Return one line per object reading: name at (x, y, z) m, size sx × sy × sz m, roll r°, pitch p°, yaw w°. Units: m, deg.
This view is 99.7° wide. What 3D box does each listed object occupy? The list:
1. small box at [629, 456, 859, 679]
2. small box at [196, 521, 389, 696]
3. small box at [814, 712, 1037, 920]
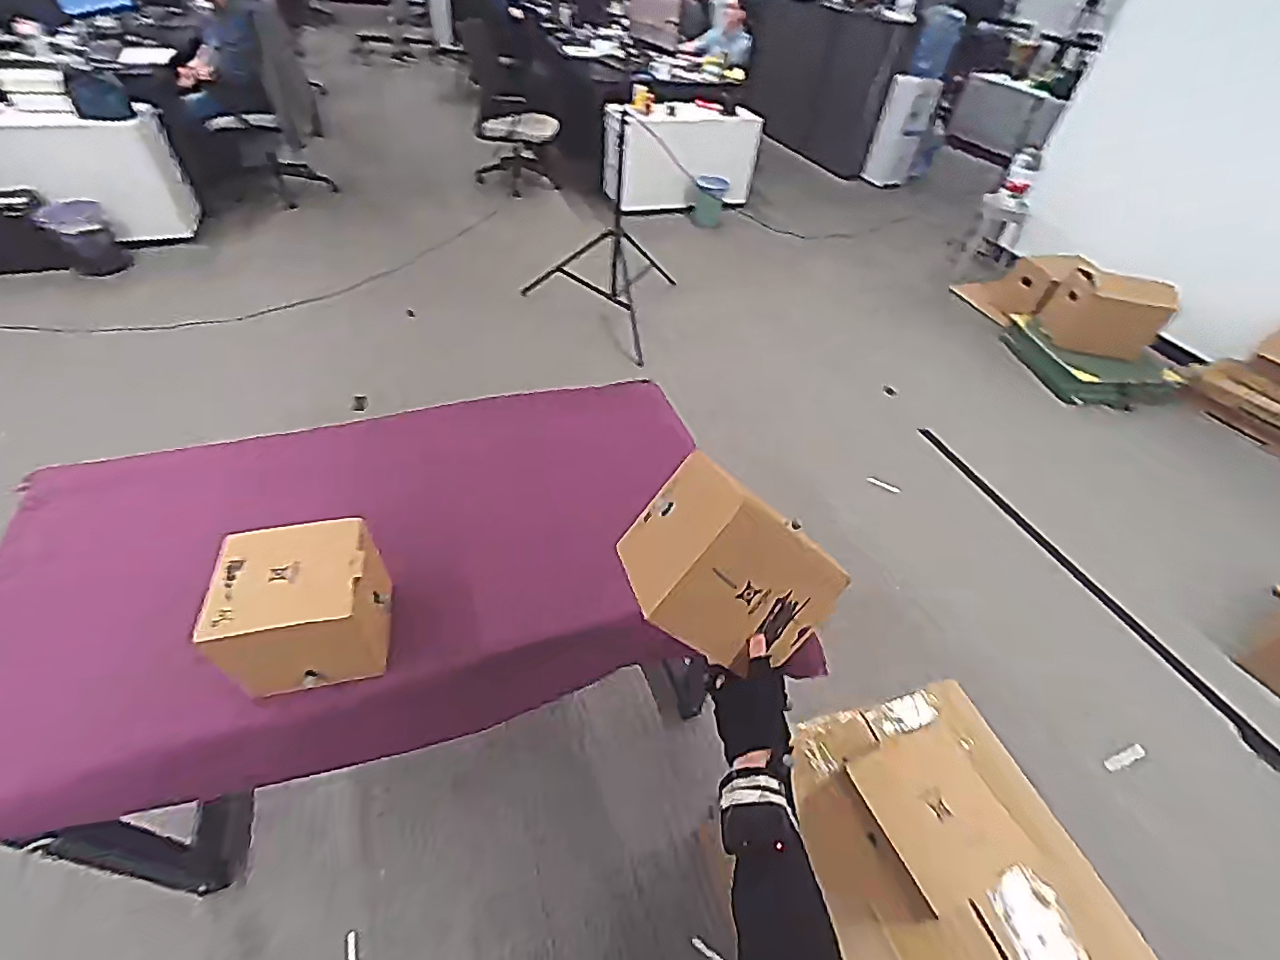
small box at (0.111, 0.094, 0.646) m, size 0.179 × 0.168 × 0.176 m, roll 36°, pitch 7°, yaw -22°
small box at (-0.468, 0.183, 0.767) m, size 0.179 × 0.176 × 0.168 m, roll -7°, pitch 47°, yaw -14°
small box at (0.368, 0.457, 0.737) m, size 0.168 × 0.176 × 0.179 m, roll -17°, pitch 51°, yaw -18°
